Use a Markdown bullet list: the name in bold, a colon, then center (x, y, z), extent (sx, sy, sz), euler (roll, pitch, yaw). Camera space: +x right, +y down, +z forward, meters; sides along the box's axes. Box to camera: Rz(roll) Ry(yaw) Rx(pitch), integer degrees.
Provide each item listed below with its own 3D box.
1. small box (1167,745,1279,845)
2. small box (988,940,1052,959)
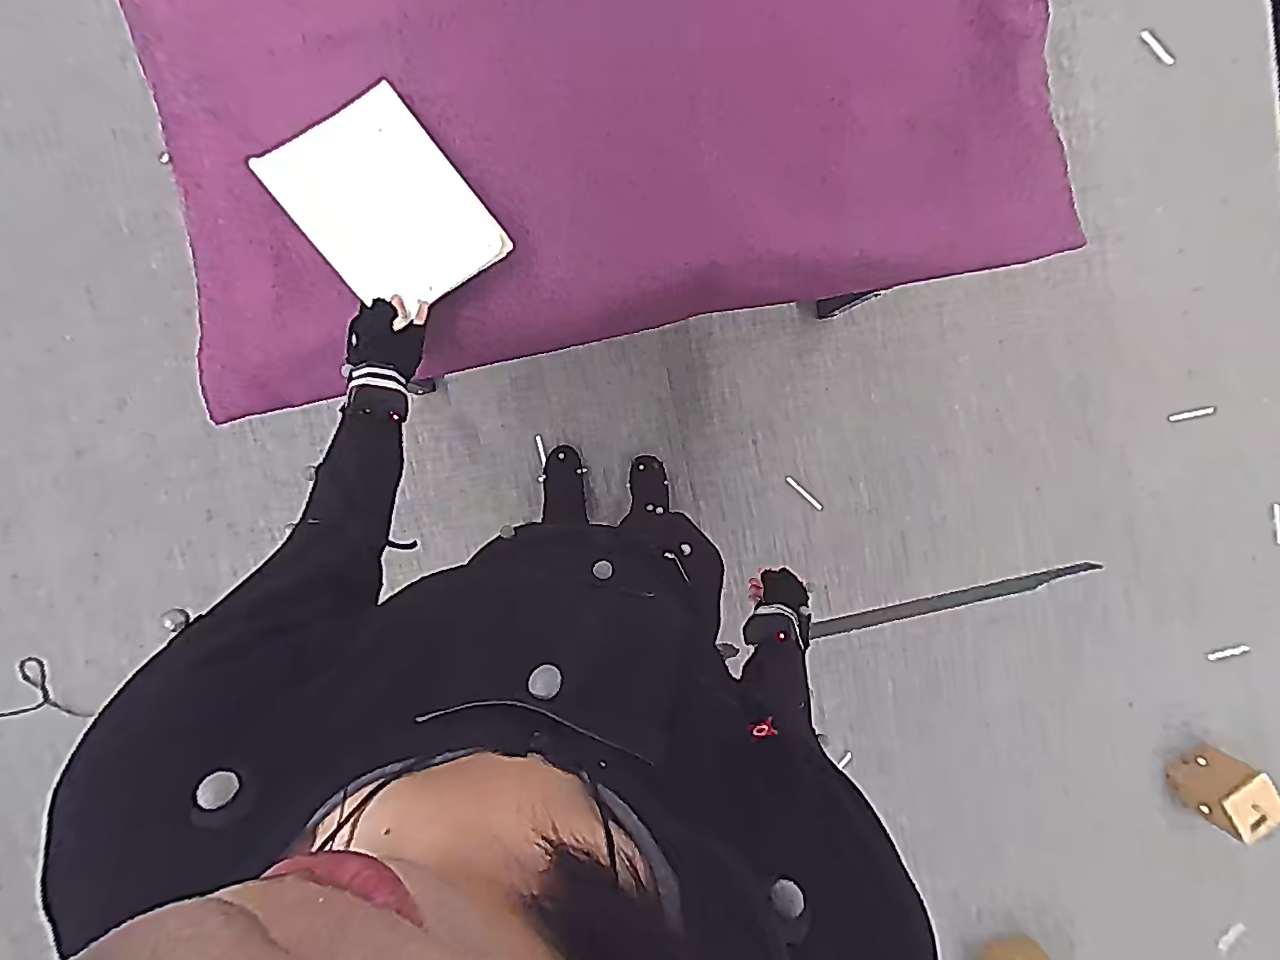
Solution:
- **small box**: center (1.842, 0.984, 1.703), extent (0.168, 0.176, 0.179), euler (-34, 96, -3)
- **small box**: center (1.213, 1.589, 1.685), extent (0.179, 0.176, 0.168), euler (1, 96, -7)
